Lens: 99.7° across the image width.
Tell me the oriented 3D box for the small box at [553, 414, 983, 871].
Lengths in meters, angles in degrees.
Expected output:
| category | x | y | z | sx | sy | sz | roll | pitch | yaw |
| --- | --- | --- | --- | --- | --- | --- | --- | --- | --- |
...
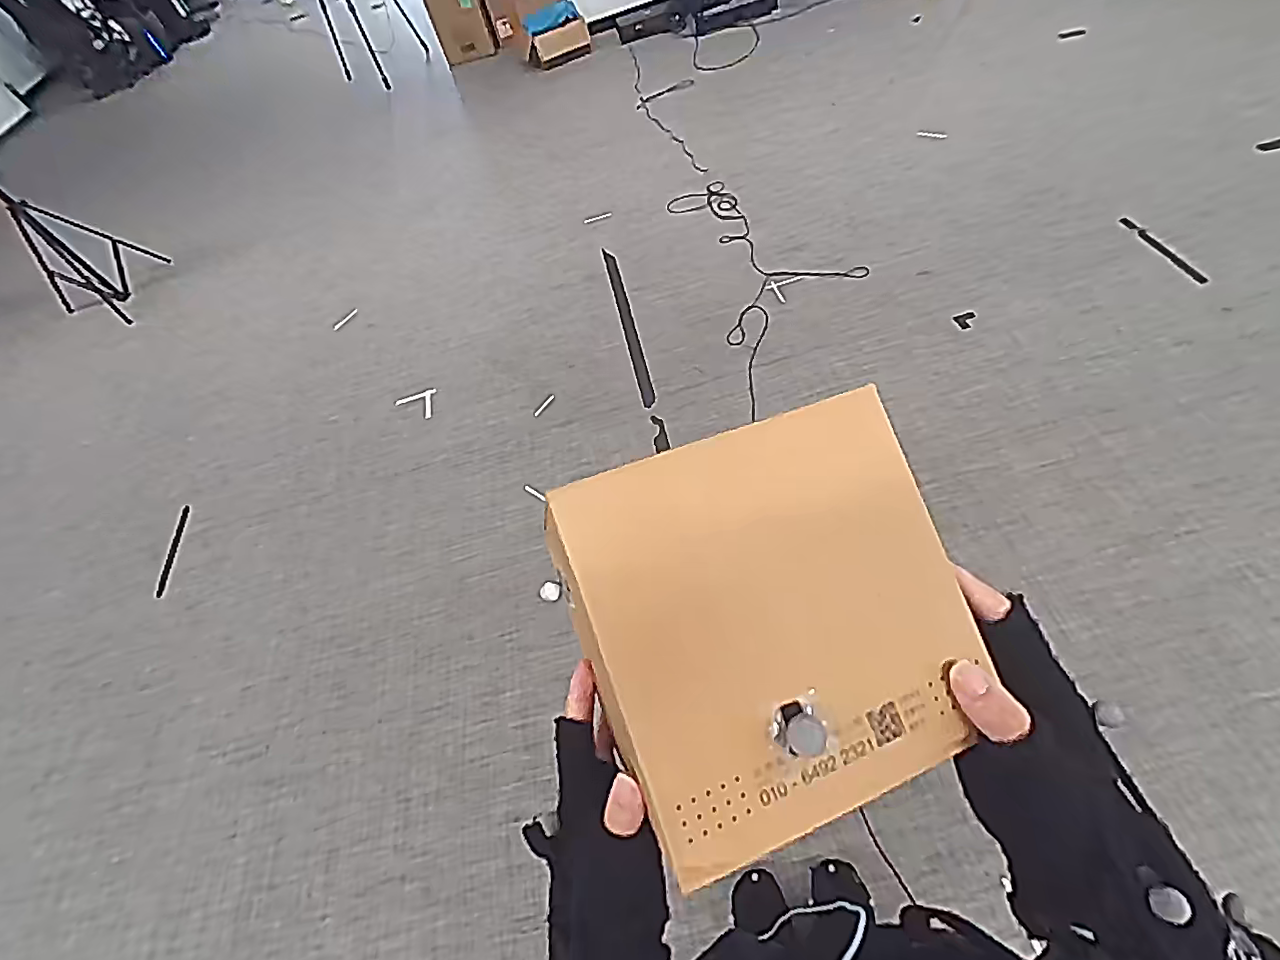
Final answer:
| category | x | y | z | sx | sy | sz | roll | pitch | yaw |
| --- | --- | --- | --- | --- | --- | --- | --- | --- | --- |
| small box | 0.052 | 0.083 | 0.327 | 0.168 | 0.179 | 0.176 | -19 | 84 | -13 |
